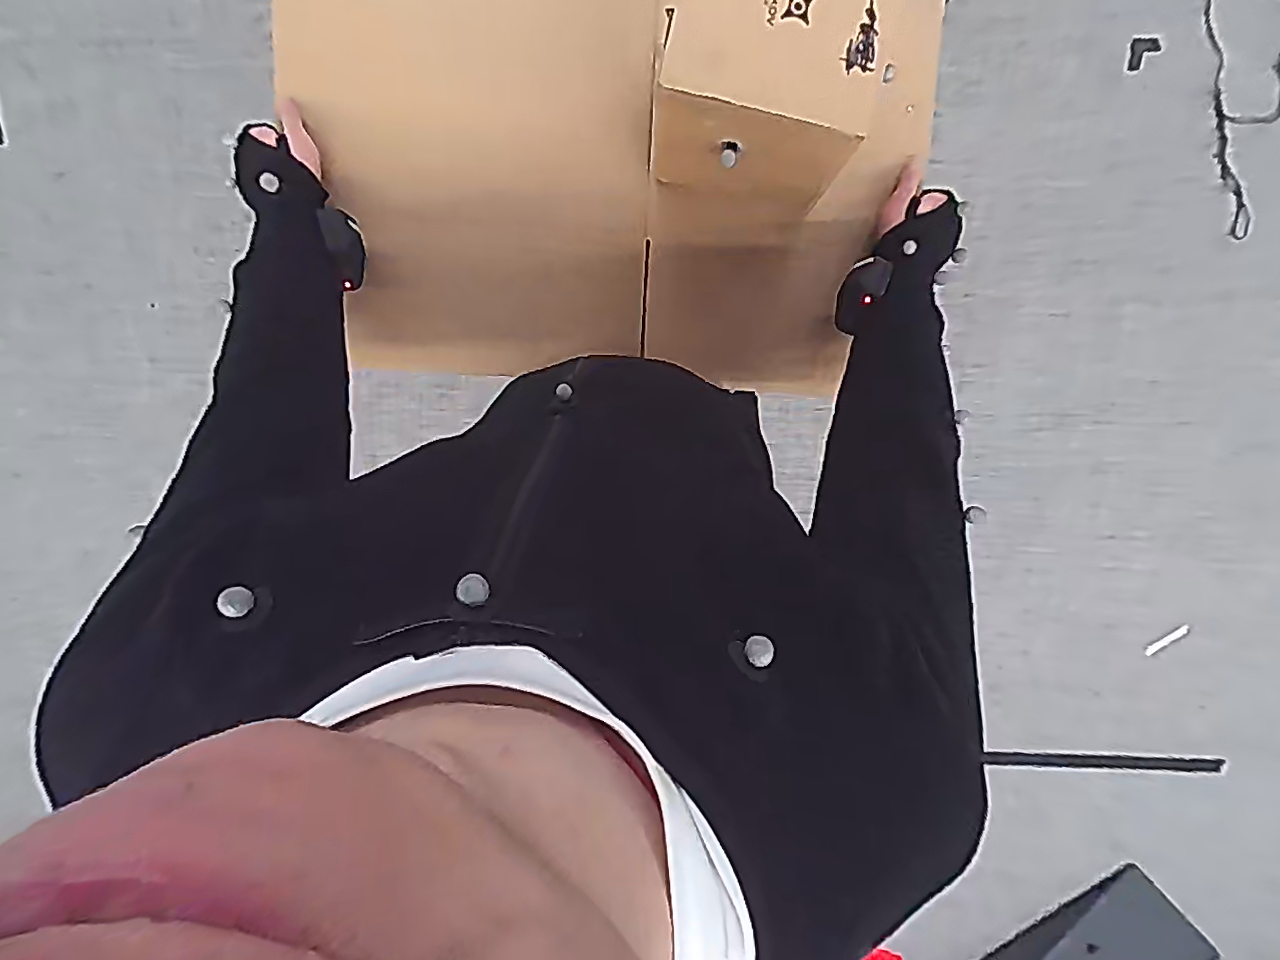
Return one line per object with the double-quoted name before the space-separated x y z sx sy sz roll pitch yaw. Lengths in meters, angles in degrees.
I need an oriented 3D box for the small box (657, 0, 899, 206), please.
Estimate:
"small box" 0.120 -0.385 0.510 0.179 0.176 0.168 13 97 1
